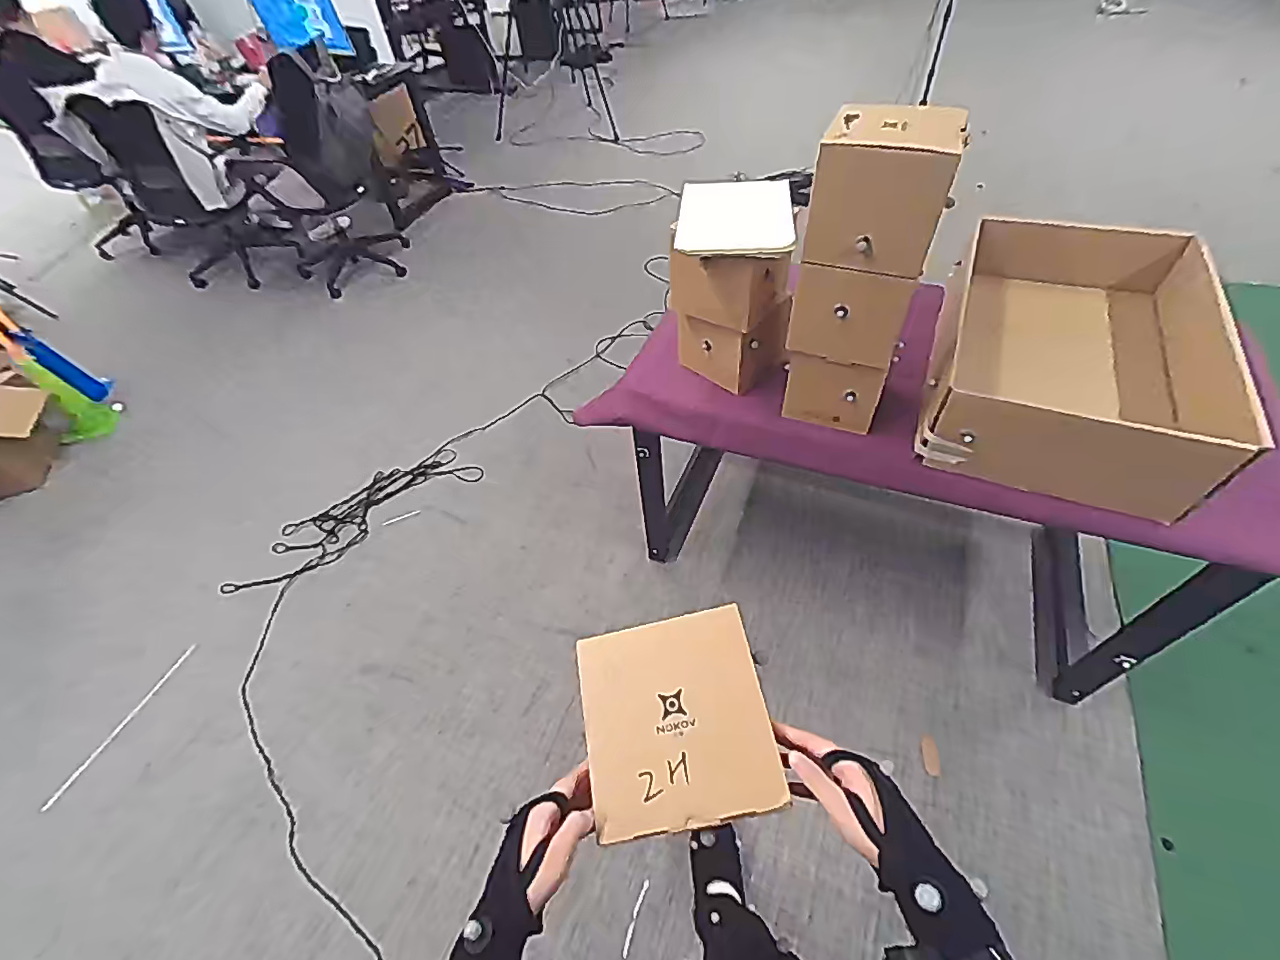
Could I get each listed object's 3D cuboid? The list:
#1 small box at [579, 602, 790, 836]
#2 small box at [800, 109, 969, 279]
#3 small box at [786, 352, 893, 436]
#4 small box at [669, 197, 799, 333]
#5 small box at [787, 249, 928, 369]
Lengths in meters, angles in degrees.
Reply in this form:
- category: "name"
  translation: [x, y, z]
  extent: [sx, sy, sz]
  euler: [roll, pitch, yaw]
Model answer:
- category: "small box"
  translation: [0.045, 0.250, 0.554]
  extent: [0.168, 0.176, 0.179]
  euler: [-14, 56, 5]
- category: "small box"
  translation: [0.354, -0.419, 0.798]
  extent: [0.179, 0.176, 0.168]
  euler: [17, 52, 18]
- category: "small box"
  translation: [0.389, -0.212, 1.049]
  extent: [0.168, 0.176, 0.179]
  euler: [17, 52, 19]
- category: "small box"
  translation: [0.175, -0.402, 1.021]
  extent: [0.179, 0.176, 0.168]
  euler: [27, 58, 26]
- category: "small box"
  translation: [0.366, -0.312, 0.922]
  extent: [0.179, 0.176, 0.168]
  euler: [17, 52, 19]
